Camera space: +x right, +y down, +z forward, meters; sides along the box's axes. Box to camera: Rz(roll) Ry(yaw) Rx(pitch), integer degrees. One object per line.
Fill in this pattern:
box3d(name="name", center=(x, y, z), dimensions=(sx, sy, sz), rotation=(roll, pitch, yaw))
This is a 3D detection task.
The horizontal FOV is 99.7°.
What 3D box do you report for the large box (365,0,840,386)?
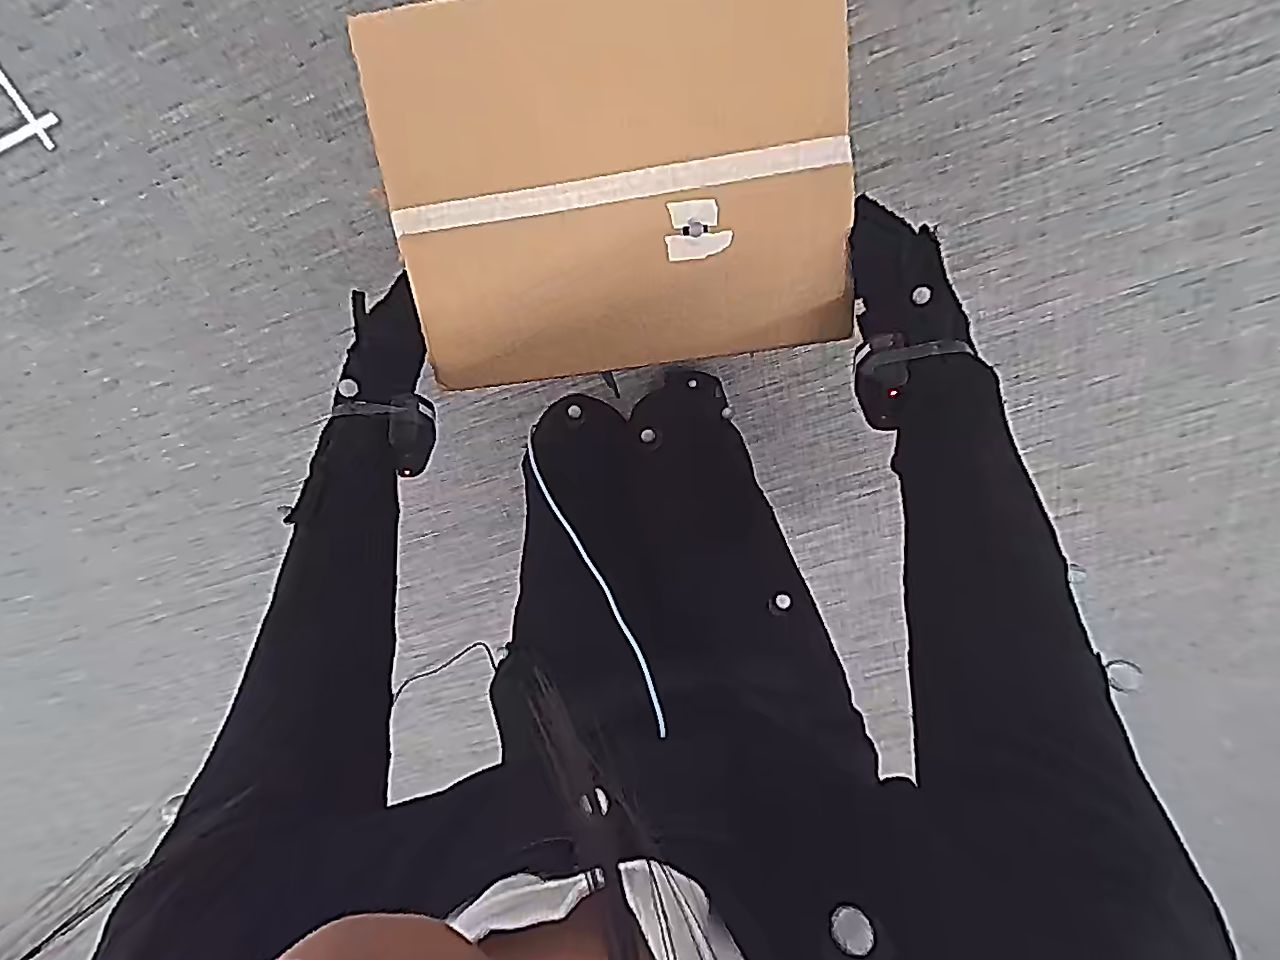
box3d(name="large box", center=(-0.020, -0.308, 0.637), dimensions=(0.408, 0.320, 0.320), rotation=(-7, 107, 5))
